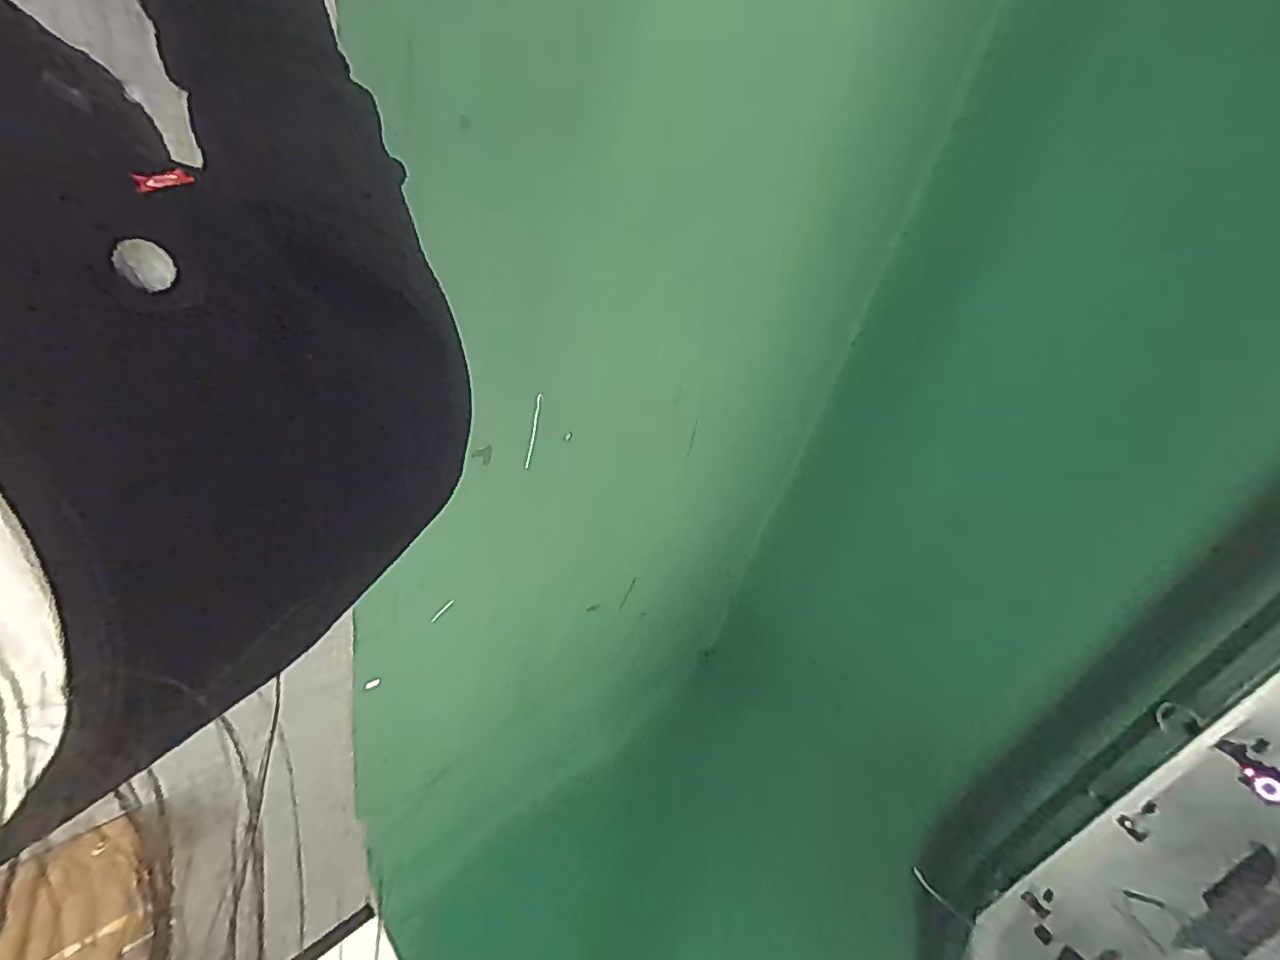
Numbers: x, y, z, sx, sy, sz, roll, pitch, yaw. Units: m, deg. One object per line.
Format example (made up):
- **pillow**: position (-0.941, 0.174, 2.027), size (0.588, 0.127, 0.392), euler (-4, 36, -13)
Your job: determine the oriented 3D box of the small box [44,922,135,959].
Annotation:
- **small box**: position (-1.447, 1.317, 1.413), size (0.168, 0.176, 0.179), euler (-21, 135, -42)
